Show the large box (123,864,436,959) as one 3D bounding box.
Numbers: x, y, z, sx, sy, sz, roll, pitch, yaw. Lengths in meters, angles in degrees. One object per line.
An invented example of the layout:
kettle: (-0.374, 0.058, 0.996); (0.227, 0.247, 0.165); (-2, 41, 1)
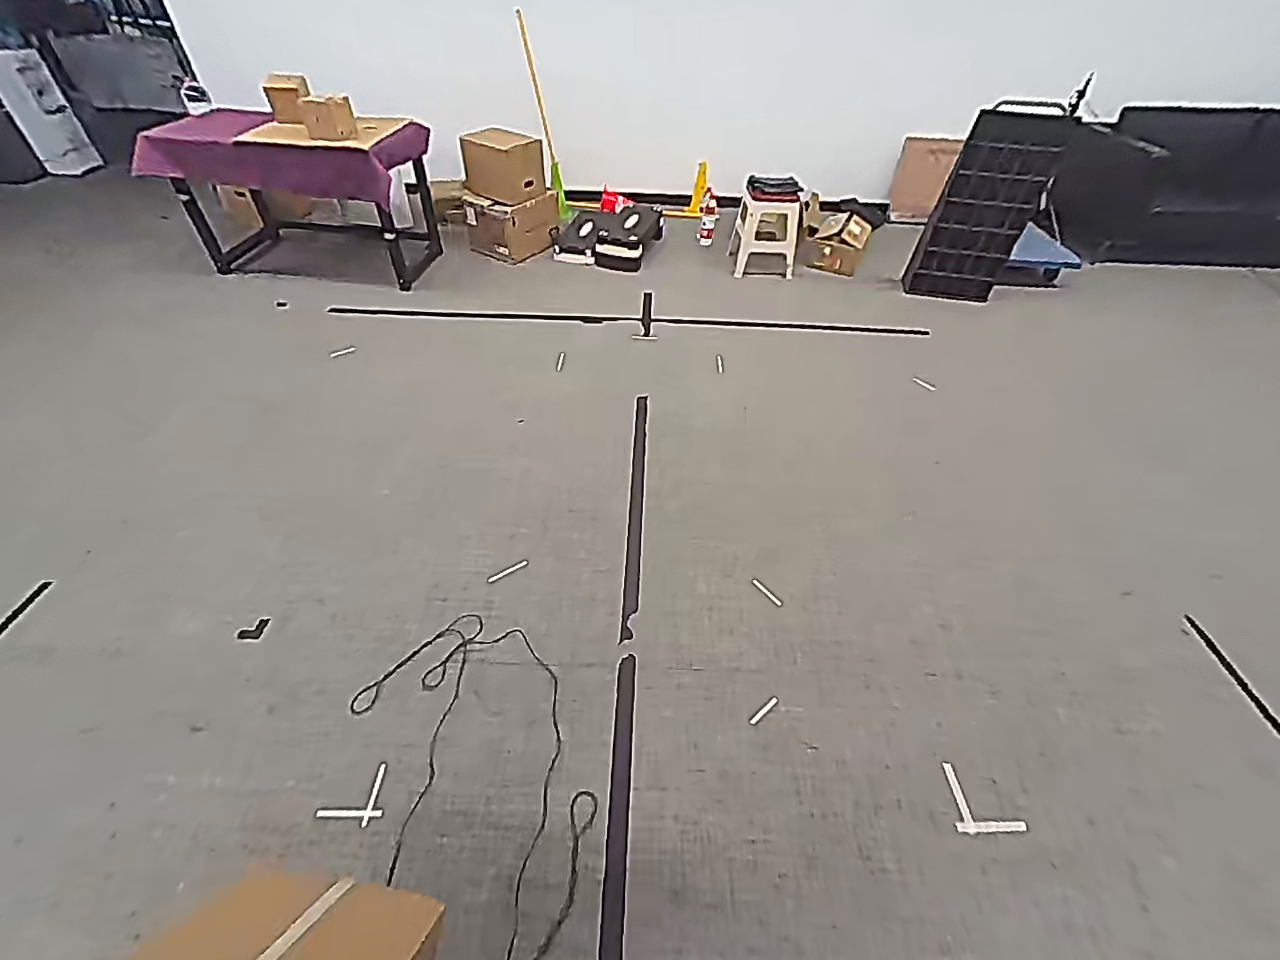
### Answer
large box: (-0.491, 0.742, 0.623); (0.320, 0.408, 0.320); (9, 81, 3)
